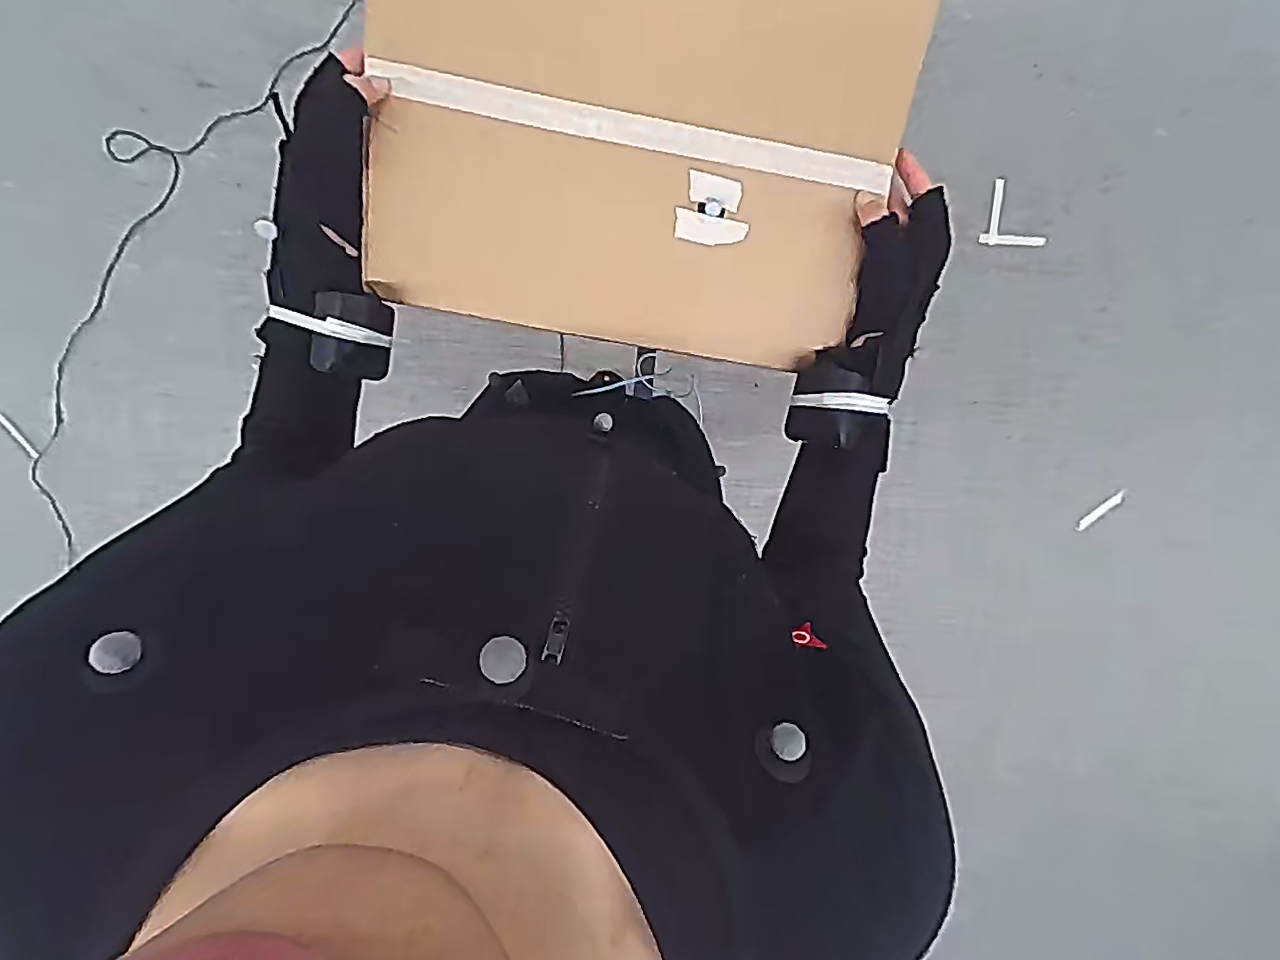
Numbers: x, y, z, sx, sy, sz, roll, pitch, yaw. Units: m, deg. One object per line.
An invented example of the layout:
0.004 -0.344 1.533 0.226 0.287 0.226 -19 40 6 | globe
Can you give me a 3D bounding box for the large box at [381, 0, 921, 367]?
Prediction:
-0.009 -0.313 0.569 0.408 0.320 0.320 8 108 -5 | large box
